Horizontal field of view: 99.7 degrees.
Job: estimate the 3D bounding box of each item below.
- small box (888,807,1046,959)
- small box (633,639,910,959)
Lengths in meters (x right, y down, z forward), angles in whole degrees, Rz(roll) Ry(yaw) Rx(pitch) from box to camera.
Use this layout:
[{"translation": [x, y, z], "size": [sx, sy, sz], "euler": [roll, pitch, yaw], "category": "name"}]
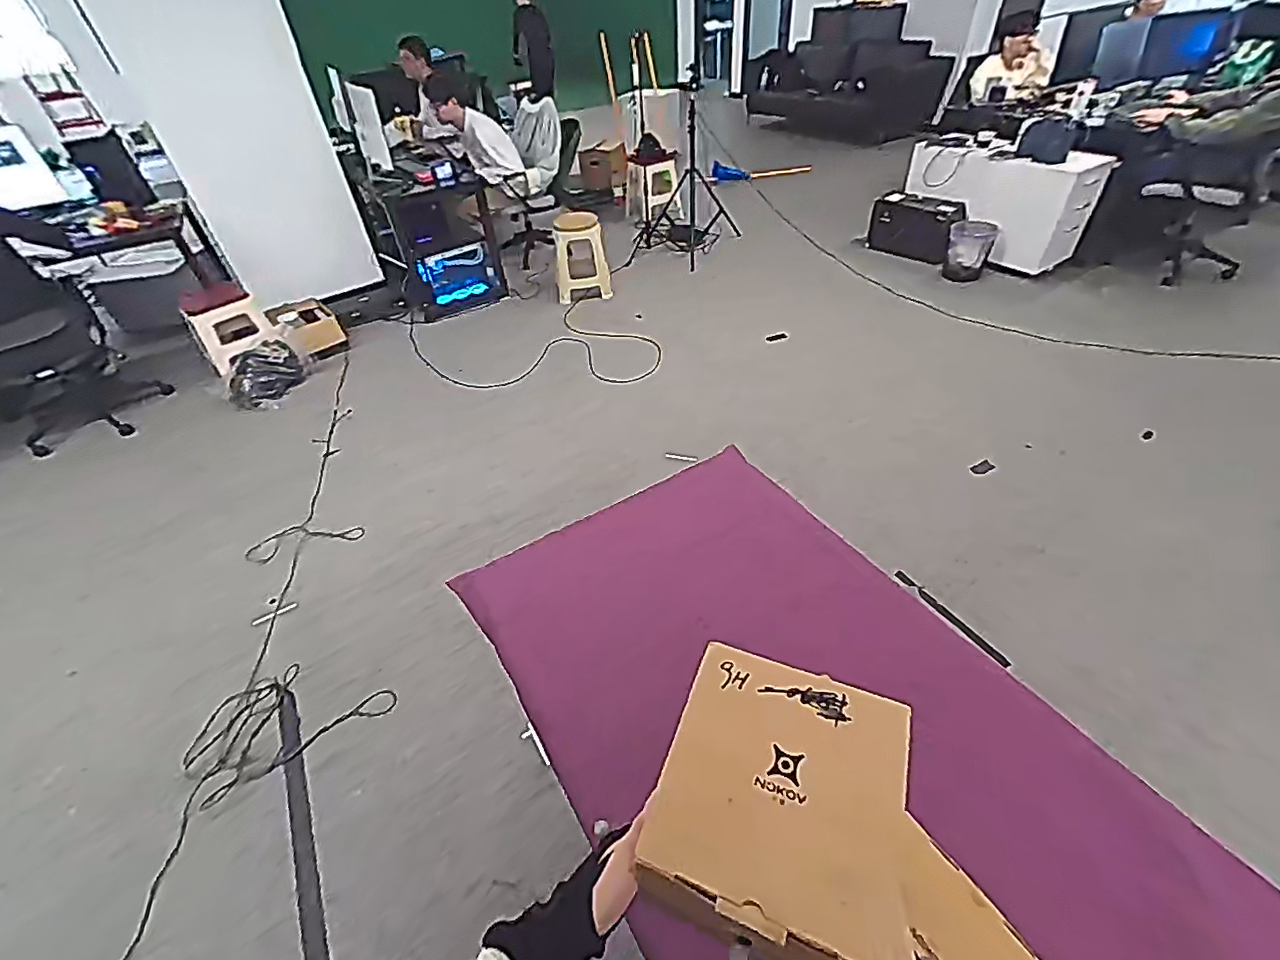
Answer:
[{"translation": [0.246, 0.469, 0.522], "size": [0.179, 0.176, 0.168], "euler": [-25, 46, -21], "category": "small box"}, {"translation": [0.108, 0.270, 0.448], "size": [0.168, 0.176, 0.179], "euler": [14, 47, 19], "category": "small box"}]
